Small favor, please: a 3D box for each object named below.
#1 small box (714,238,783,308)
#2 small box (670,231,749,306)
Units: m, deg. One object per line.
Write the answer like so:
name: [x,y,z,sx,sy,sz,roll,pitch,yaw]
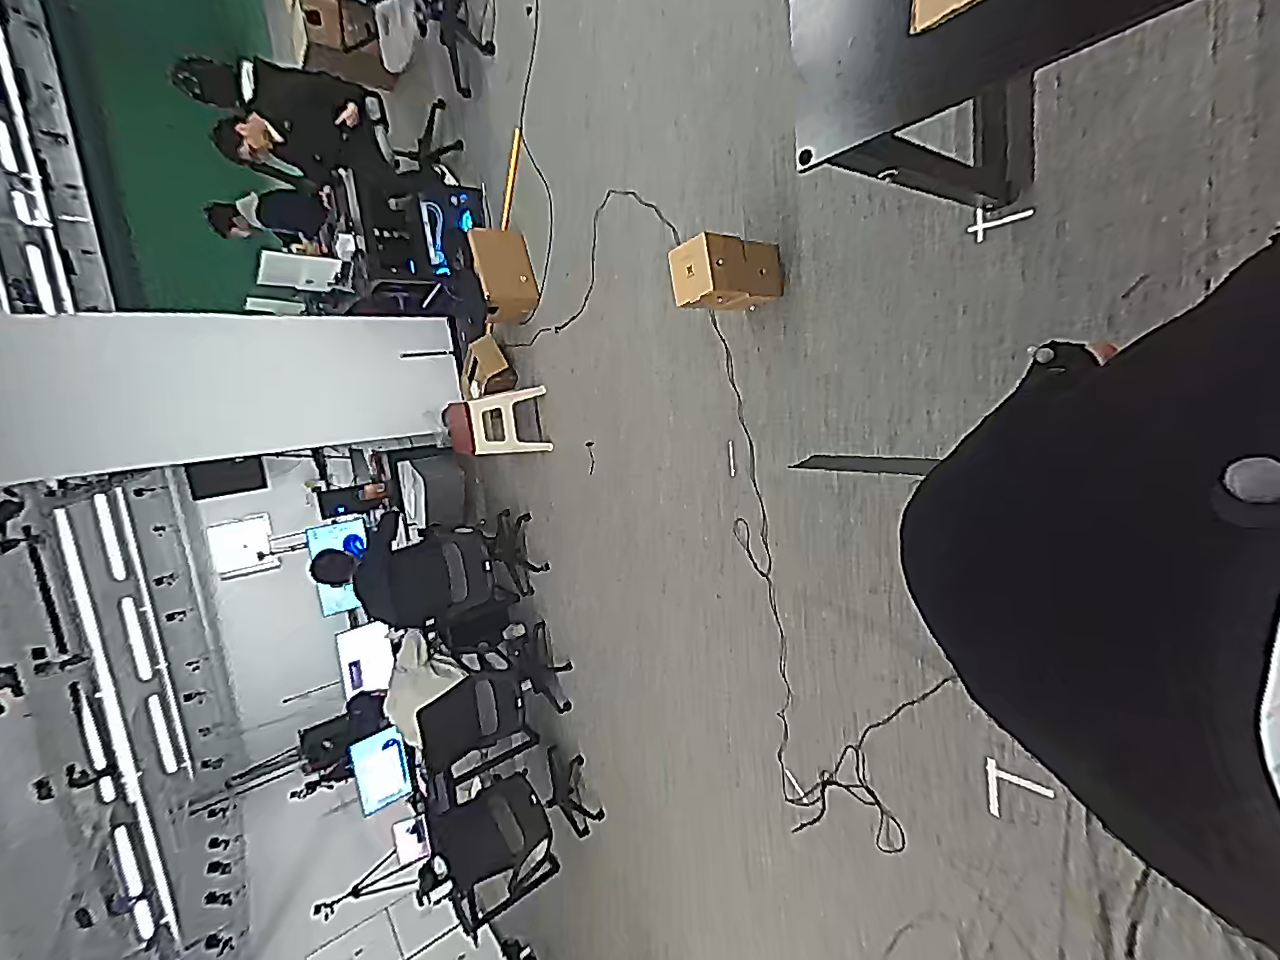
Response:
small box: [0.349,-0.673,1.780,0.168,0.176,0.179,0,101,53]
small box: [0.220,-0.651,1.682,0.168,0.176,0.179,-5,96,53]
